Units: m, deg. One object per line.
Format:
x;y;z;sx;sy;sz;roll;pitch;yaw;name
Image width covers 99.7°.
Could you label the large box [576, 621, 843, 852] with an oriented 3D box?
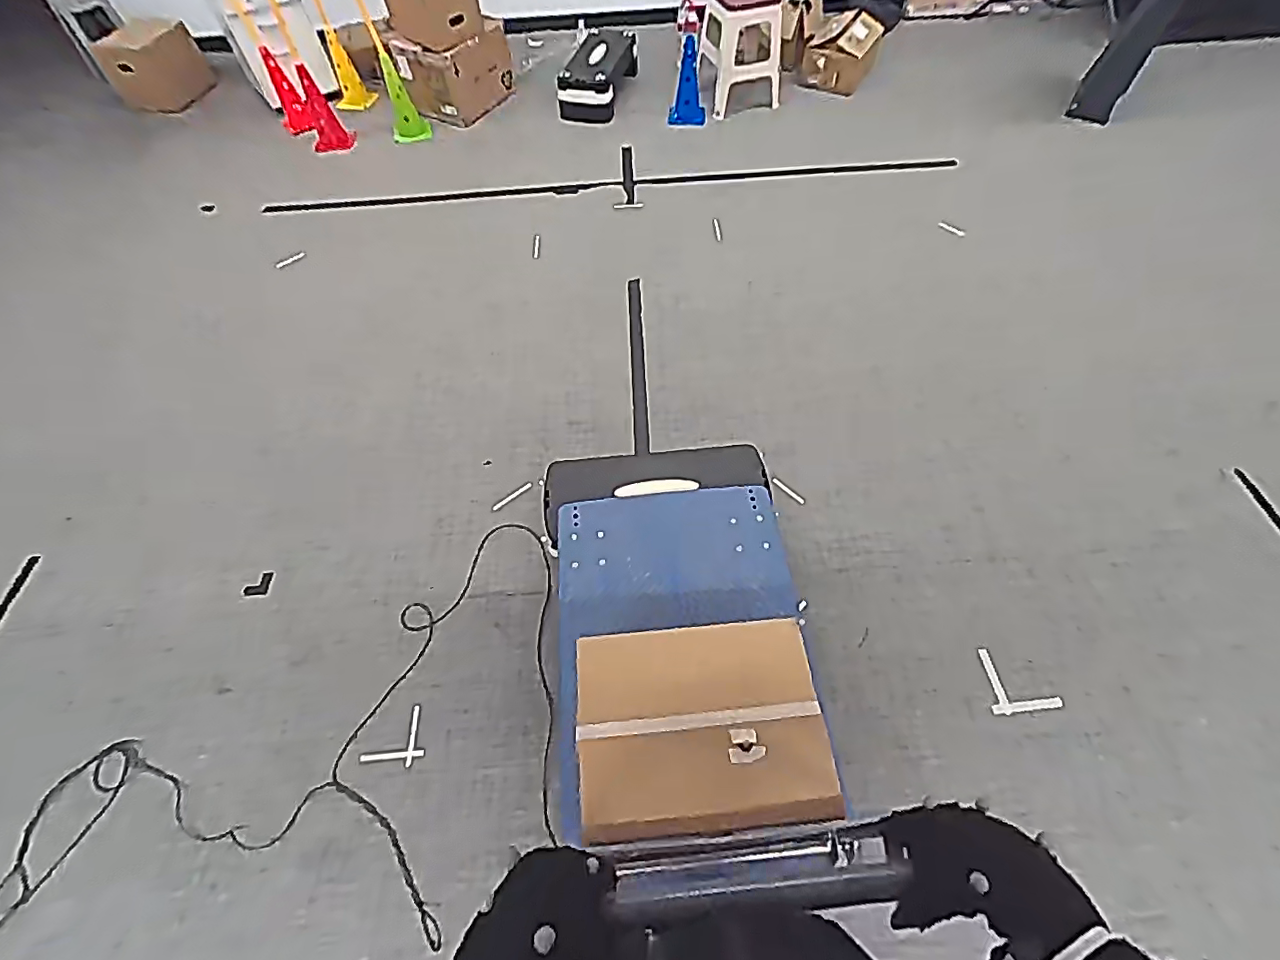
0.100;0.484;1.015;0.408;0.320;0.320;-5;58;-2;large box
